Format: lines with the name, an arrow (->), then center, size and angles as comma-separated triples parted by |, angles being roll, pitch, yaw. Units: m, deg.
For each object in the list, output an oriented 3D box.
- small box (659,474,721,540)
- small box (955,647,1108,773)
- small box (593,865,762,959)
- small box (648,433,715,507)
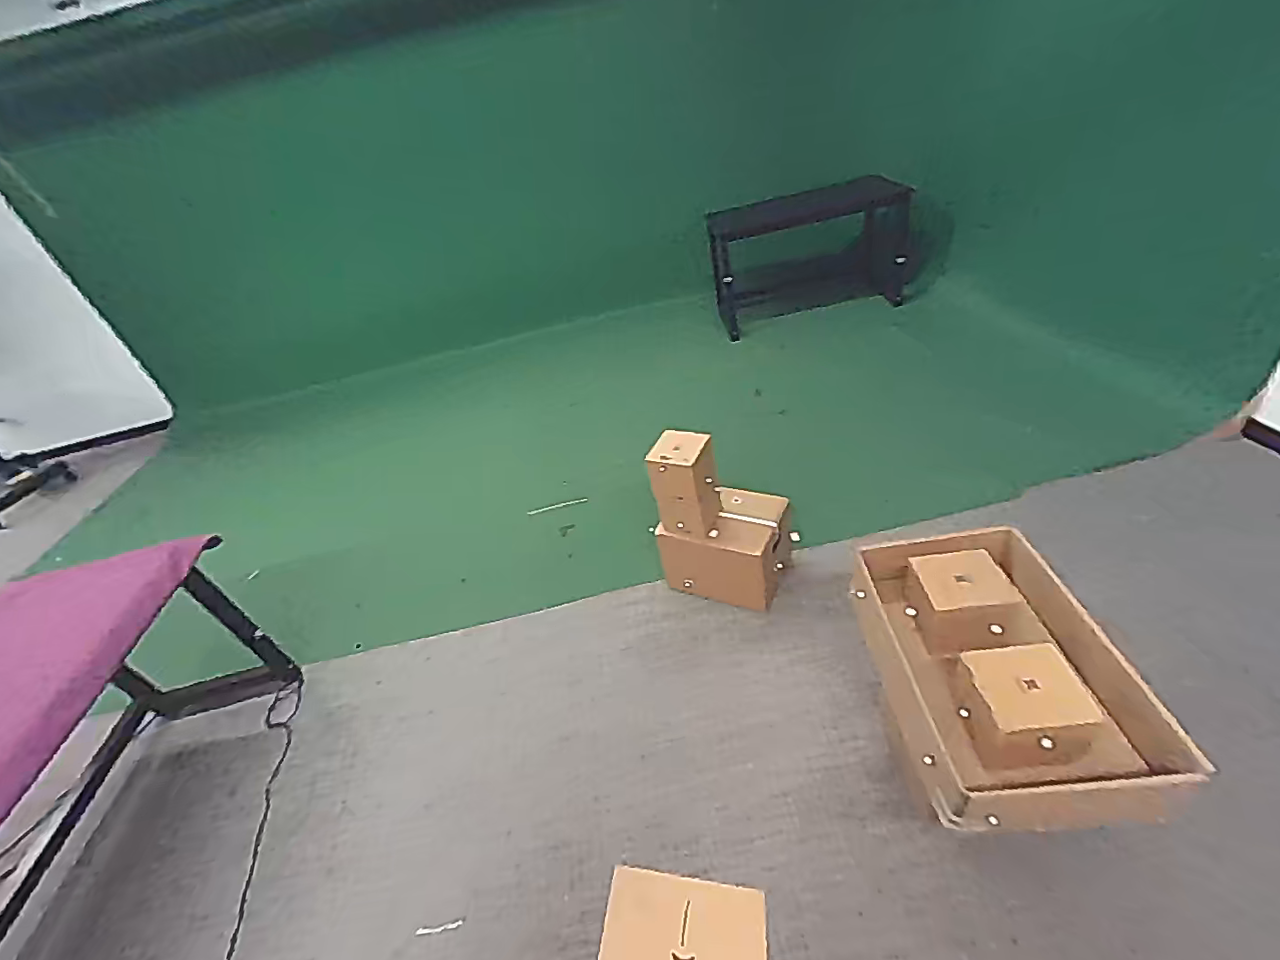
small box -> 0.183, 0.085, 1.923 | 0.168, 0.176, 0.179 | 9, 43, 29
small box -> 0.754, 0.455, 1.067 | 0.179, 0.176, 0.168 | -10, 36, 8
small box -> 0.037, 0.543, 0.554 | 0.168, 0.176, 0.179 | 3, 32, 9
small box -> 0.146, -0.036, 1.818 | 0.168, 0.176, 0.179 | 9, 42, 28
